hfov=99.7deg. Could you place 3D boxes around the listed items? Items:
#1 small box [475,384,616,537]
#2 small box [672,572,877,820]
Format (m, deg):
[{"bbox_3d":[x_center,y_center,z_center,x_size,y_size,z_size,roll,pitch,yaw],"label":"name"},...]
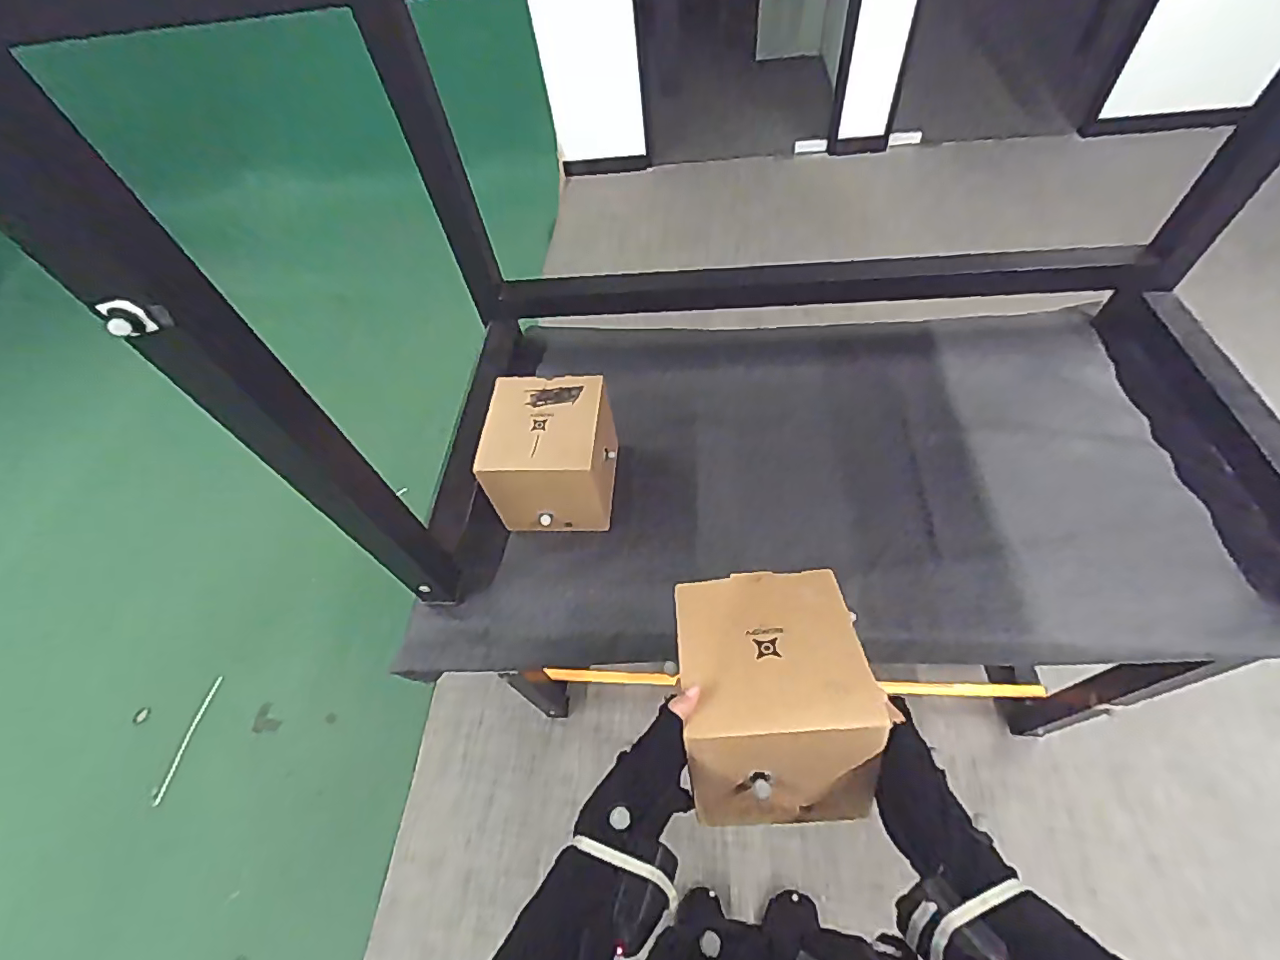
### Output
[{"bbox_3d":[-0.132,-0.029,0.839,0.168,0.176,0.179,0,55,6],"label":"small box"},{"bbox_3d":[0.126,0.221,0.551,0.168,0.176,0.179,-7,33,5],"label":"small box"}]
